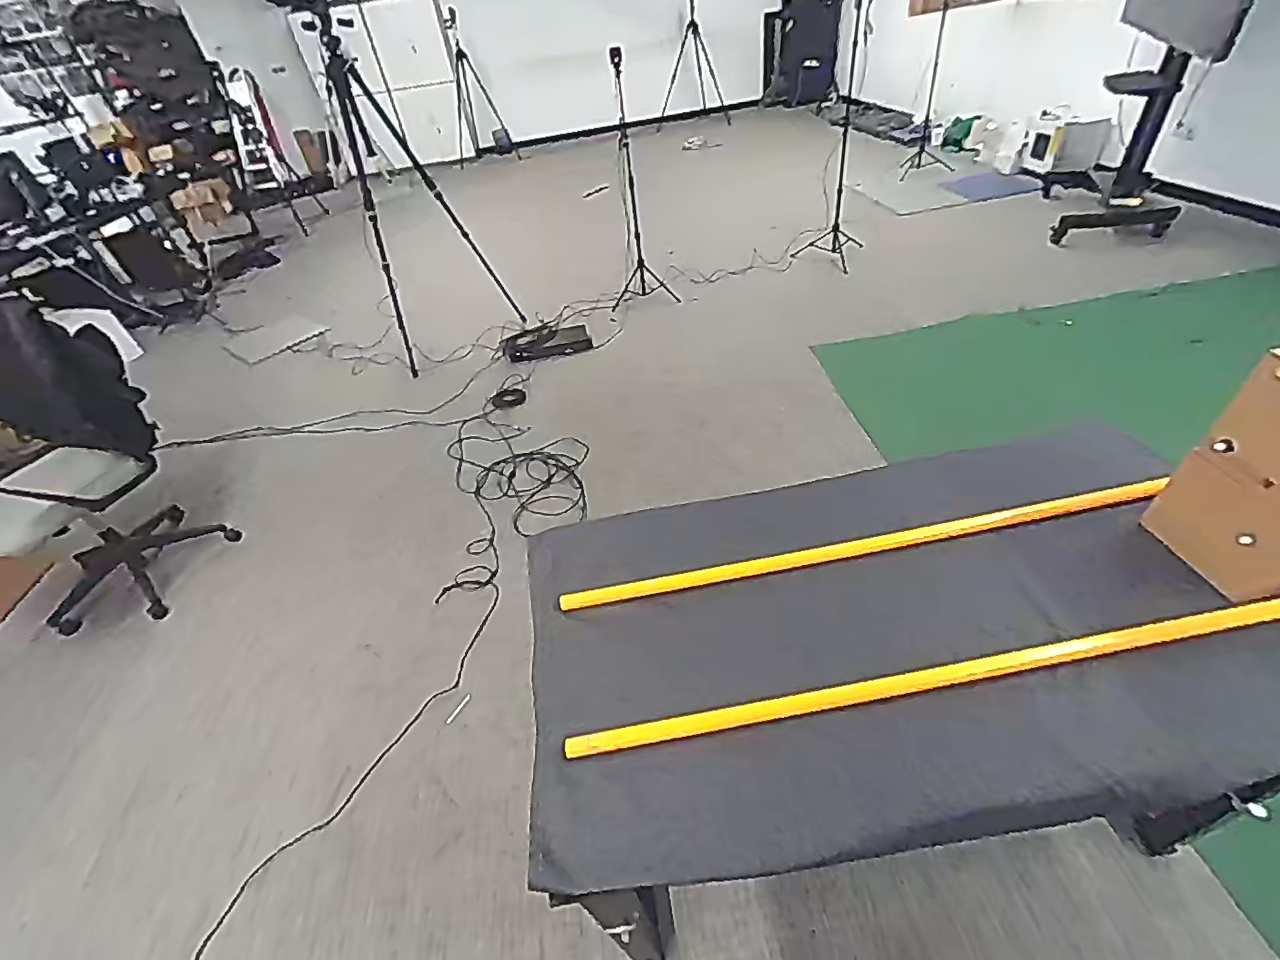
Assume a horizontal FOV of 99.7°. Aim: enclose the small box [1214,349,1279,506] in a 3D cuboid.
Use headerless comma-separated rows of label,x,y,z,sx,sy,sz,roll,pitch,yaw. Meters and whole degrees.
small box,0.921,-0.066,0.701,0.179,0.176,0.168,-7,42,2
